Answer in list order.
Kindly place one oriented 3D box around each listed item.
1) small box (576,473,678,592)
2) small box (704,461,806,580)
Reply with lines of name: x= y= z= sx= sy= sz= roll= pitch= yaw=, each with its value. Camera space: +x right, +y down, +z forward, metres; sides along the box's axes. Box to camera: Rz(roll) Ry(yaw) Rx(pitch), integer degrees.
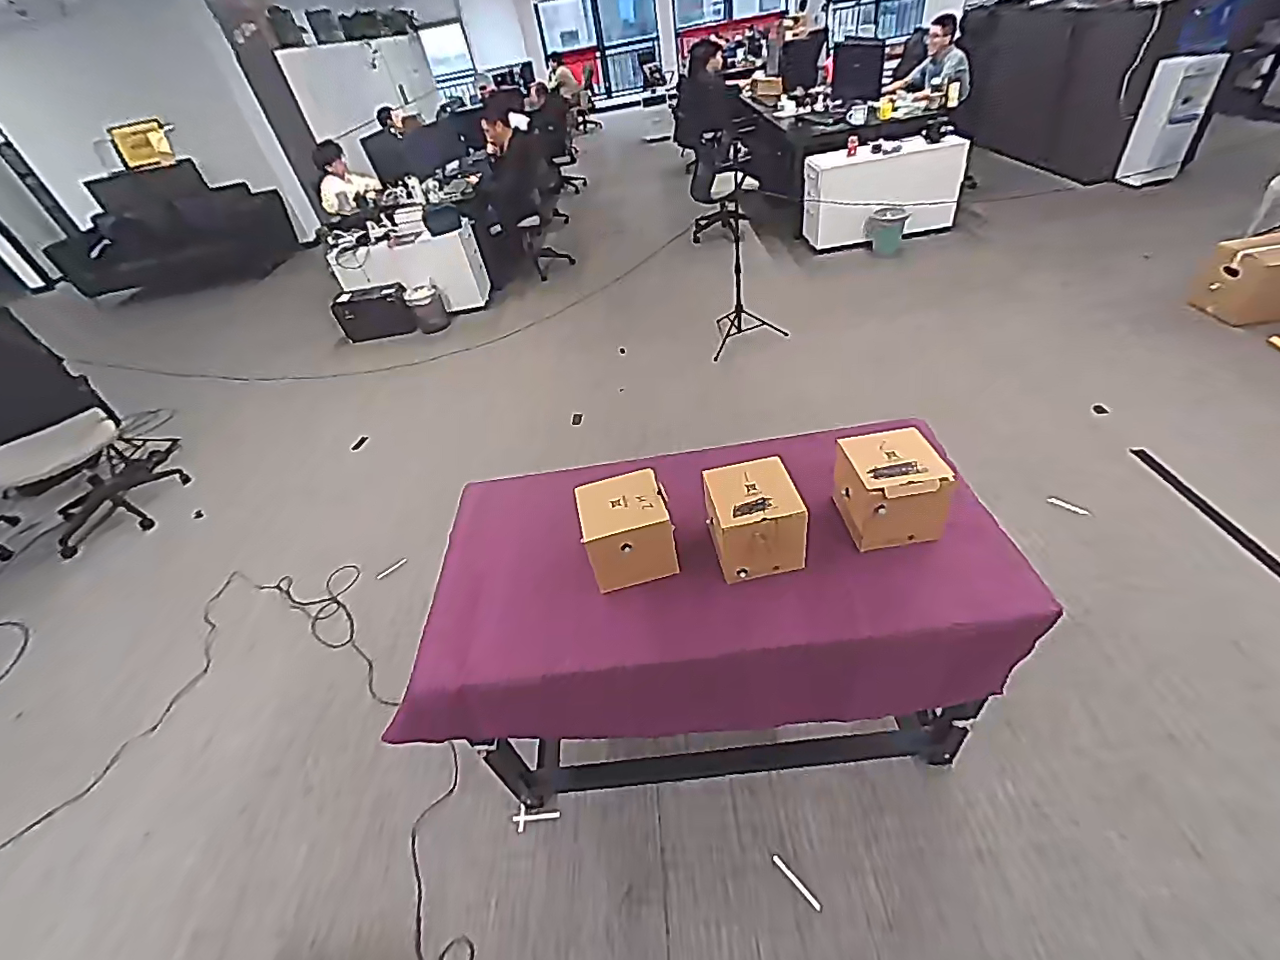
small box: x=-0.026 y=0.115 z=1.154 sx=0.179 sy=0.176 sz=0.168 roll=-14 pitch=41 yaw=-3
small box: x=0.236 y=0.090 z=1.124 sx=0.168 sy=0.176 sz=0.179 roll=-11 pitch=39 yaw=0
